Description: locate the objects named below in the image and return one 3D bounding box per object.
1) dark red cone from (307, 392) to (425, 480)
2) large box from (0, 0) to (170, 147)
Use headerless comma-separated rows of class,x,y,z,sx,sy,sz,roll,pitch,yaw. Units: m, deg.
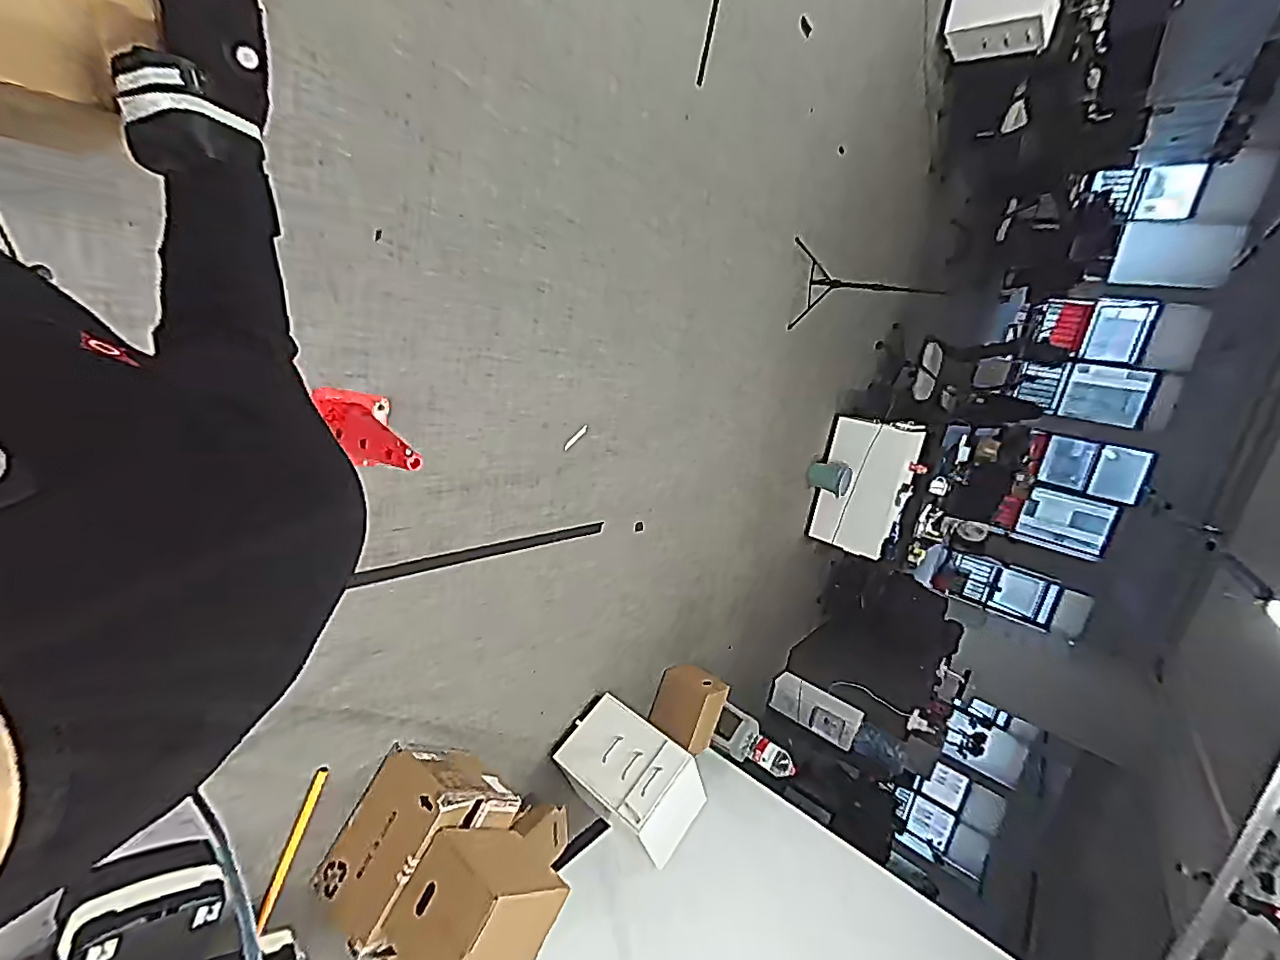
dark red cone,-0.640,-0.077,1.328,0.201,0.394,0.202,3,104,-52
large box,-0.569,-0.424,0.290,0.408,0.320,0.320,-13,116,-51
